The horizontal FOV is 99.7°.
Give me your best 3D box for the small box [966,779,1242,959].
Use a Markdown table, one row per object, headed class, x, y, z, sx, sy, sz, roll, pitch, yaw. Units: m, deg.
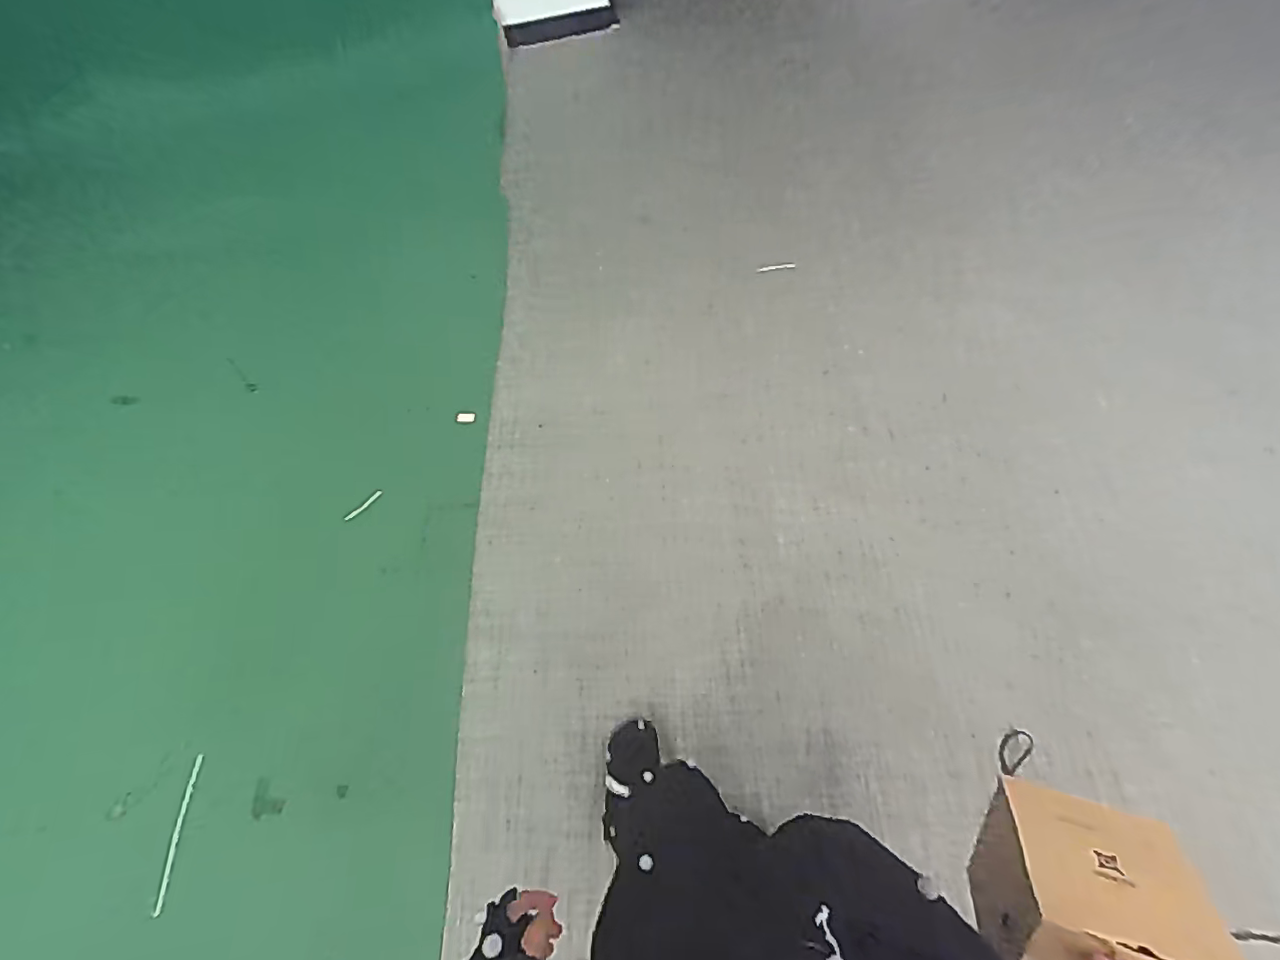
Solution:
| class | x | y | z | sx | sy | sz | roll | pitch | yaw |
| --- | --- | --- | --- | --- | --- | --- | --- | --- | --- |
| small box | 0.470 | 0.474 | 0.573 | 0.168 | 0.179 | 0.176 | 11 | 111 | 18 |
